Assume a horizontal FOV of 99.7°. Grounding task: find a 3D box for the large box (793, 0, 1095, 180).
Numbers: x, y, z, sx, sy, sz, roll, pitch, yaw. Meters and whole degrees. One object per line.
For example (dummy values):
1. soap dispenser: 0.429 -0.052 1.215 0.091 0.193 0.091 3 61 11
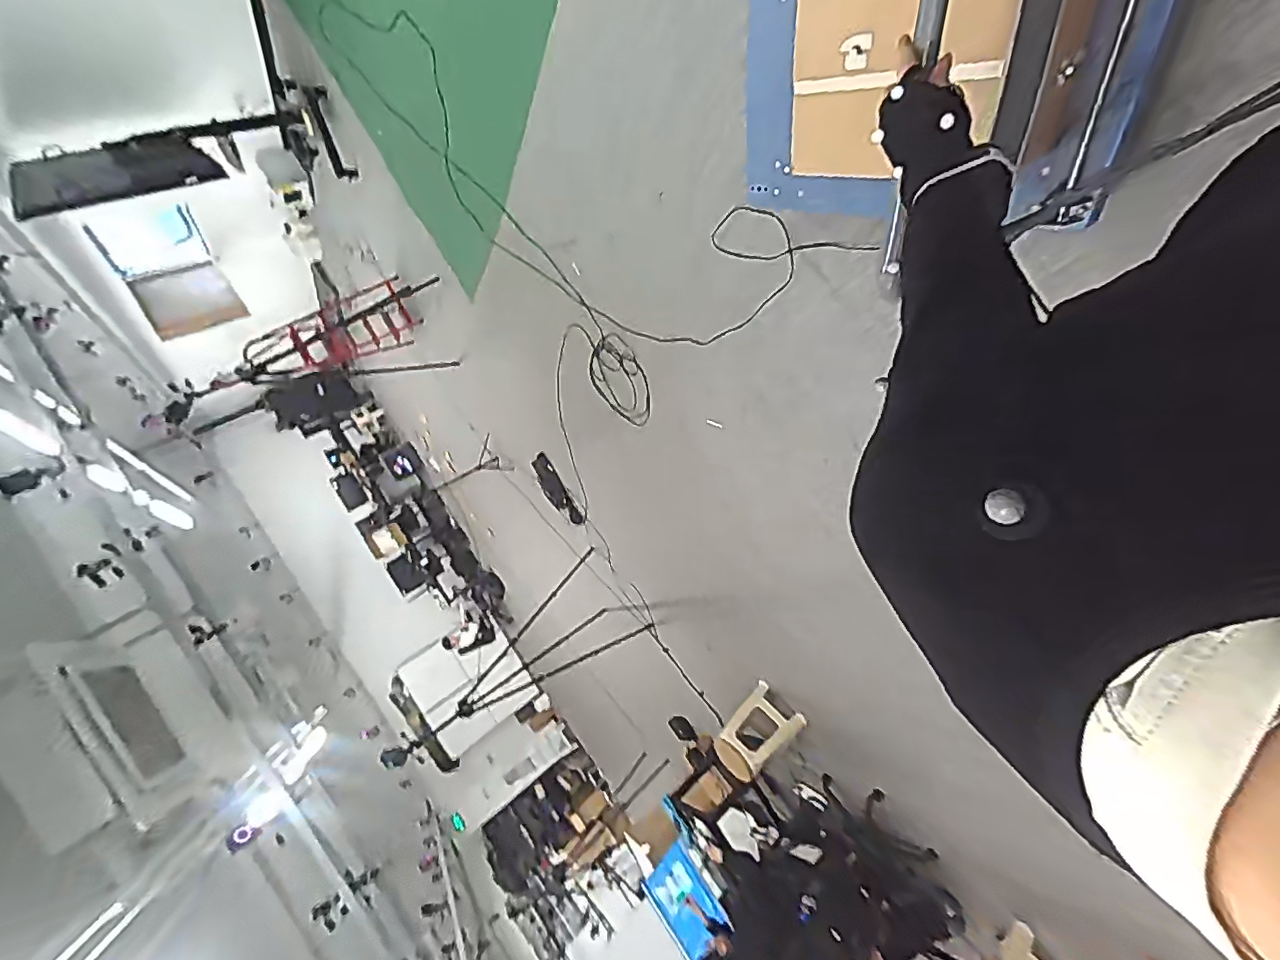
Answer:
1. large box: 0.555 -0.781 1.028 0.408 0.320 0.320 32 142 40
